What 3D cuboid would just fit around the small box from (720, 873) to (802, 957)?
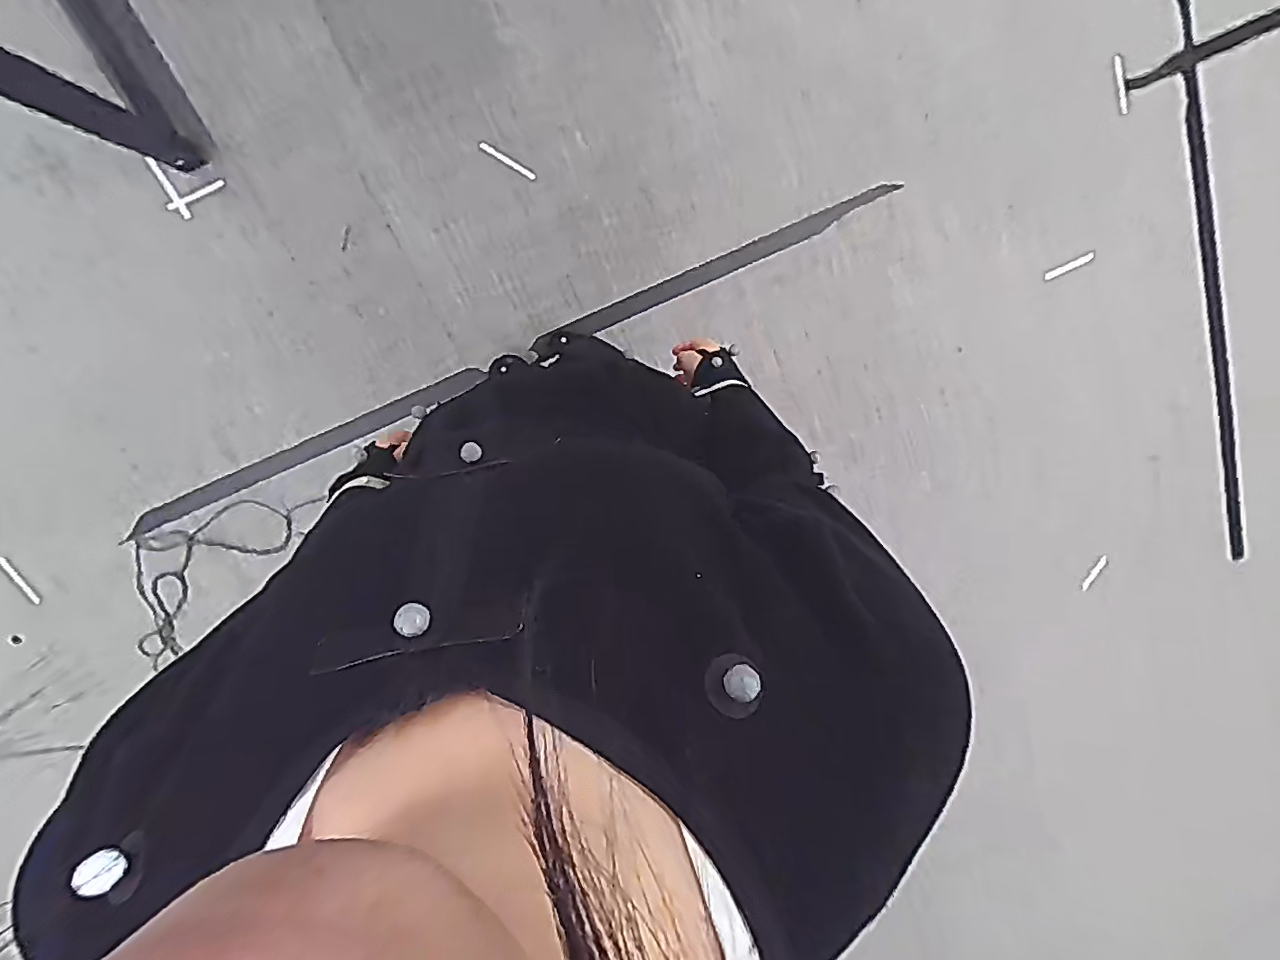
[{"bbox_3d":[0.340,1.237,1.497,0.168,0.176,0.179,-24,106,-2],"label":"small box"}]
